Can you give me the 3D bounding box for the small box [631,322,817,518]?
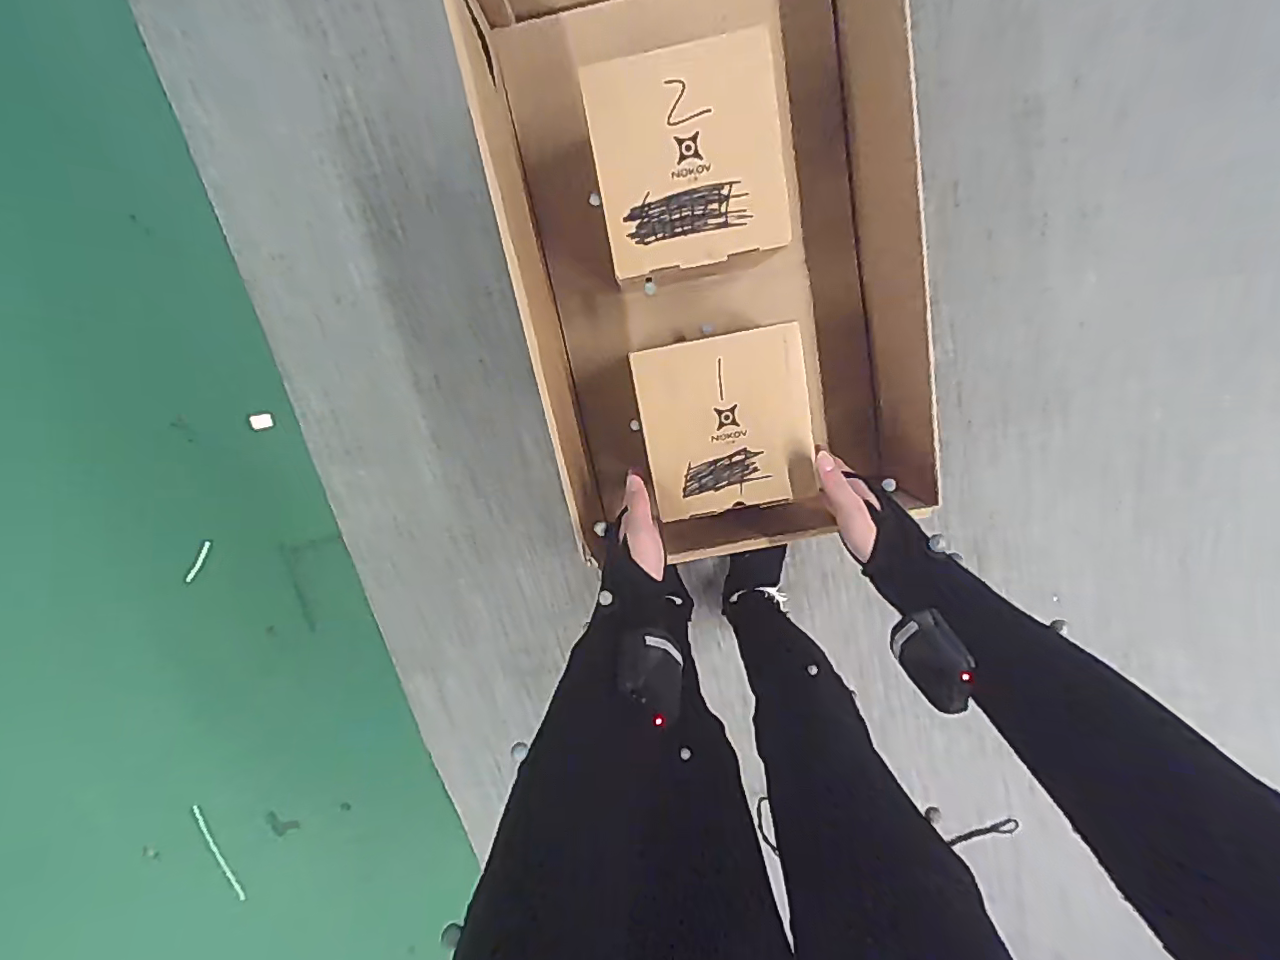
[{"bbox_3d":[0.088,-0.074,0.610,0.168,0.176,0.179,-10,103,4],"label":"small box"}]
